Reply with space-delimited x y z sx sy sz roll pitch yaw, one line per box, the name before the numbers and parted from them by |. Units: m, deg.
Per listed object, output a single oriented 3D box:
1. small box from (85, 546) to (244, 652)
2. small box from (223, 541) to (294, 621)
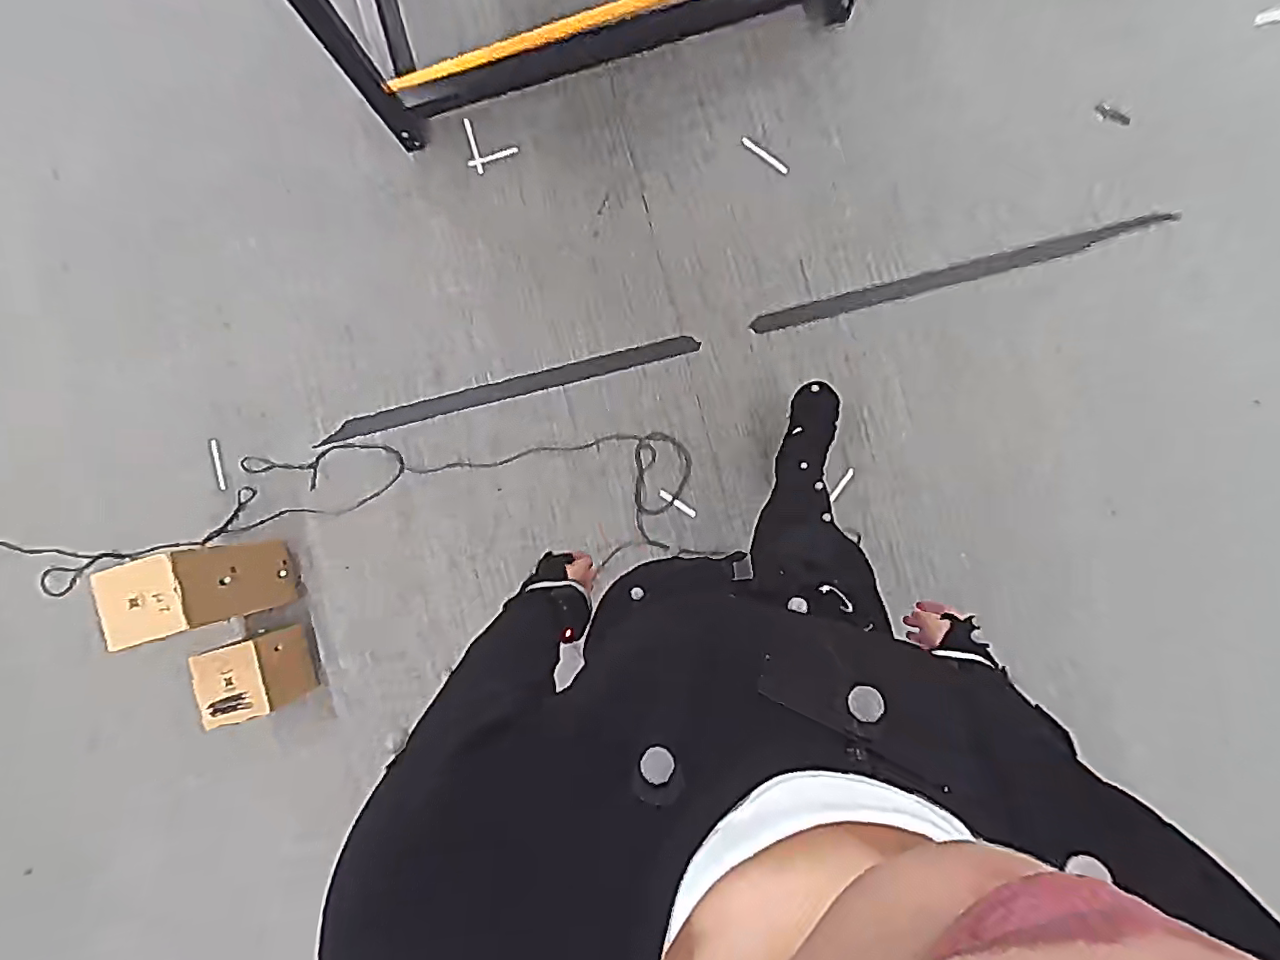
small box | -1.001 0.246 1.151 0.179 0.176 0.168 -16 88 2
small box | -0.993 0.252 1.315 0.179 0.176 0.168 -15 88 1
